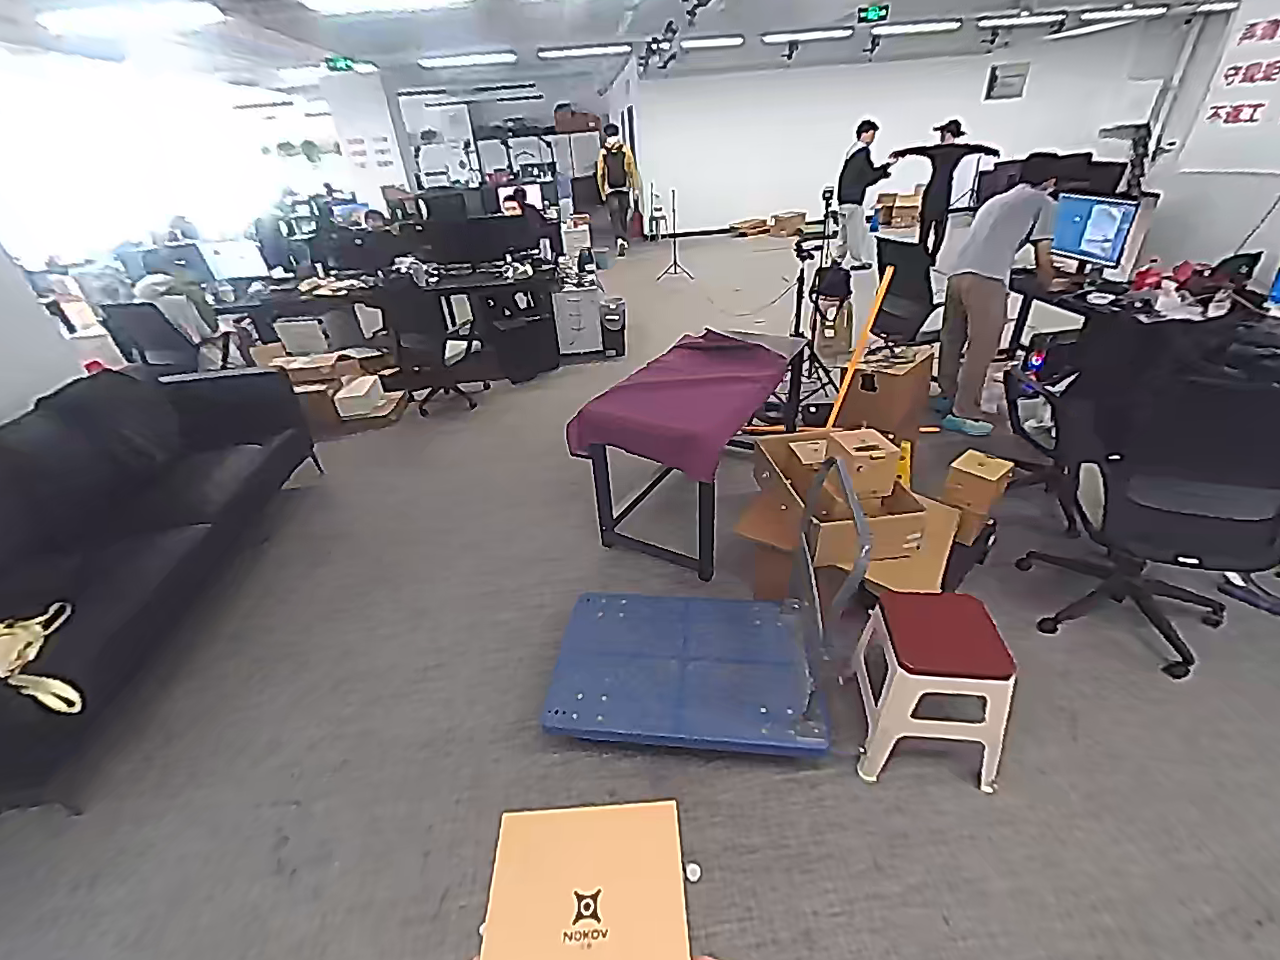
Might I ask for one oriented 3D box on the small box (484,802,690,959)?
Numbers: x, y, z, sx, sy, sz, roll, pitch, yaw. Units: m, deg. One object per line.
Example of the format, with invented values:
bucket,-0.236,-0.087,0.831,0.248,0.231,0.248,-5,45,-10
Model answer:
small box,-0.039,0.427,0.493,0.168,0.176,0.179,-4,35,1
